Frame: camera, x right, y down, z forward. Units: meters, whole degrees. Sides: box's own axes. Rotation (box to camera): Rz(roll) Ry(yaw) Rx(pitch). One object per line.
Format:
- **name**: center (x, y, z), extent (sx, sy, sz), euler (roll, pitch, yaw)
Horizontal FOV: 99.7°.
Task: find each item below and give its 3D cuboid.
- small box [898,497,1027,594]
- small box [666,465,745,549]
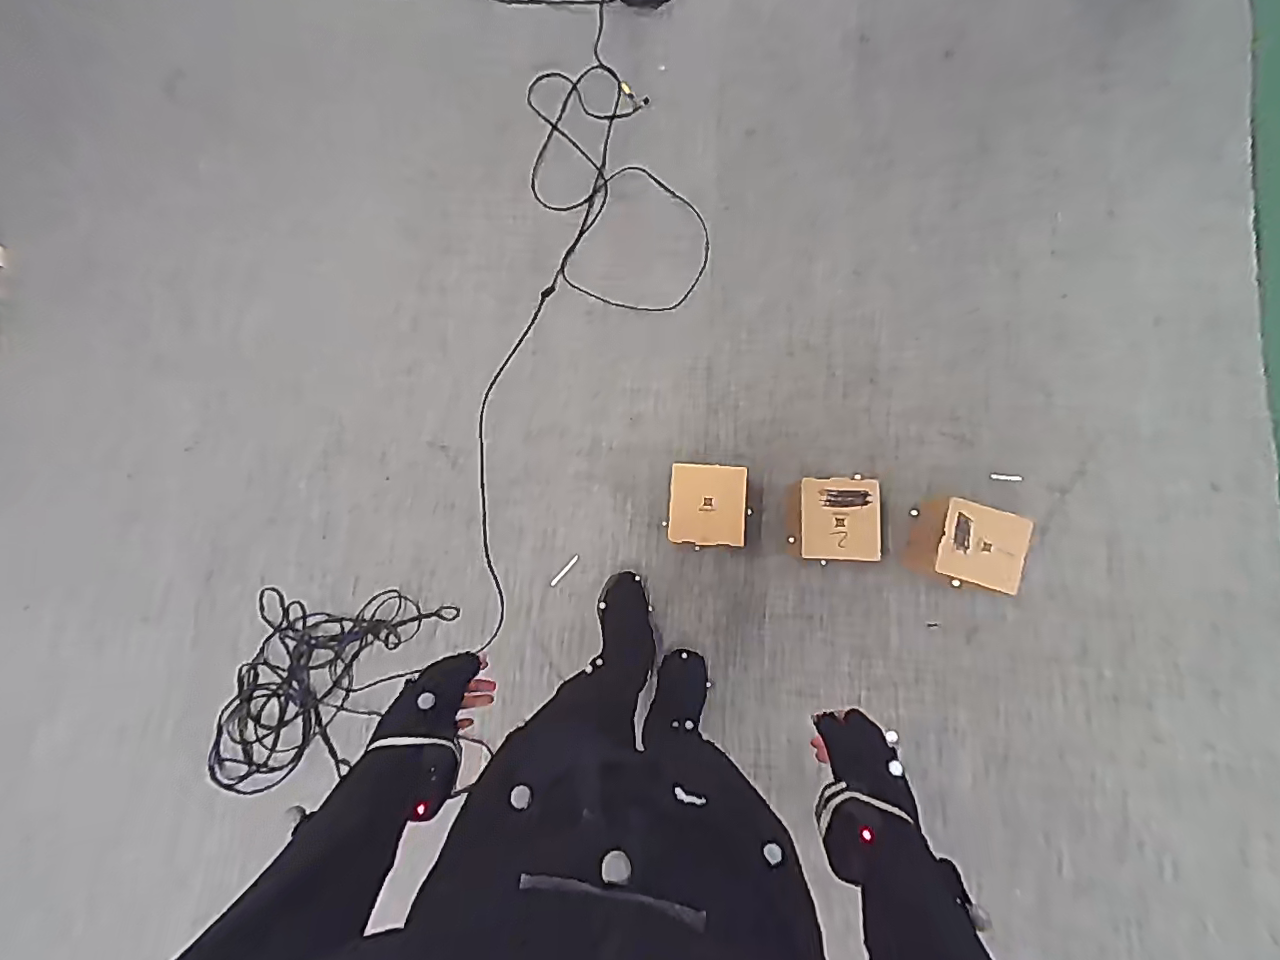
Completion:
- **small box**: center (0.711, 0.148, 1.212), extent (0.179, 0.176, 0.168), euler (17, 83, 5)
- **small box**: center (0.148, 0.068, 1.260), extent (0.168, 0.176, 0.179), euler (3, 82, 4)
